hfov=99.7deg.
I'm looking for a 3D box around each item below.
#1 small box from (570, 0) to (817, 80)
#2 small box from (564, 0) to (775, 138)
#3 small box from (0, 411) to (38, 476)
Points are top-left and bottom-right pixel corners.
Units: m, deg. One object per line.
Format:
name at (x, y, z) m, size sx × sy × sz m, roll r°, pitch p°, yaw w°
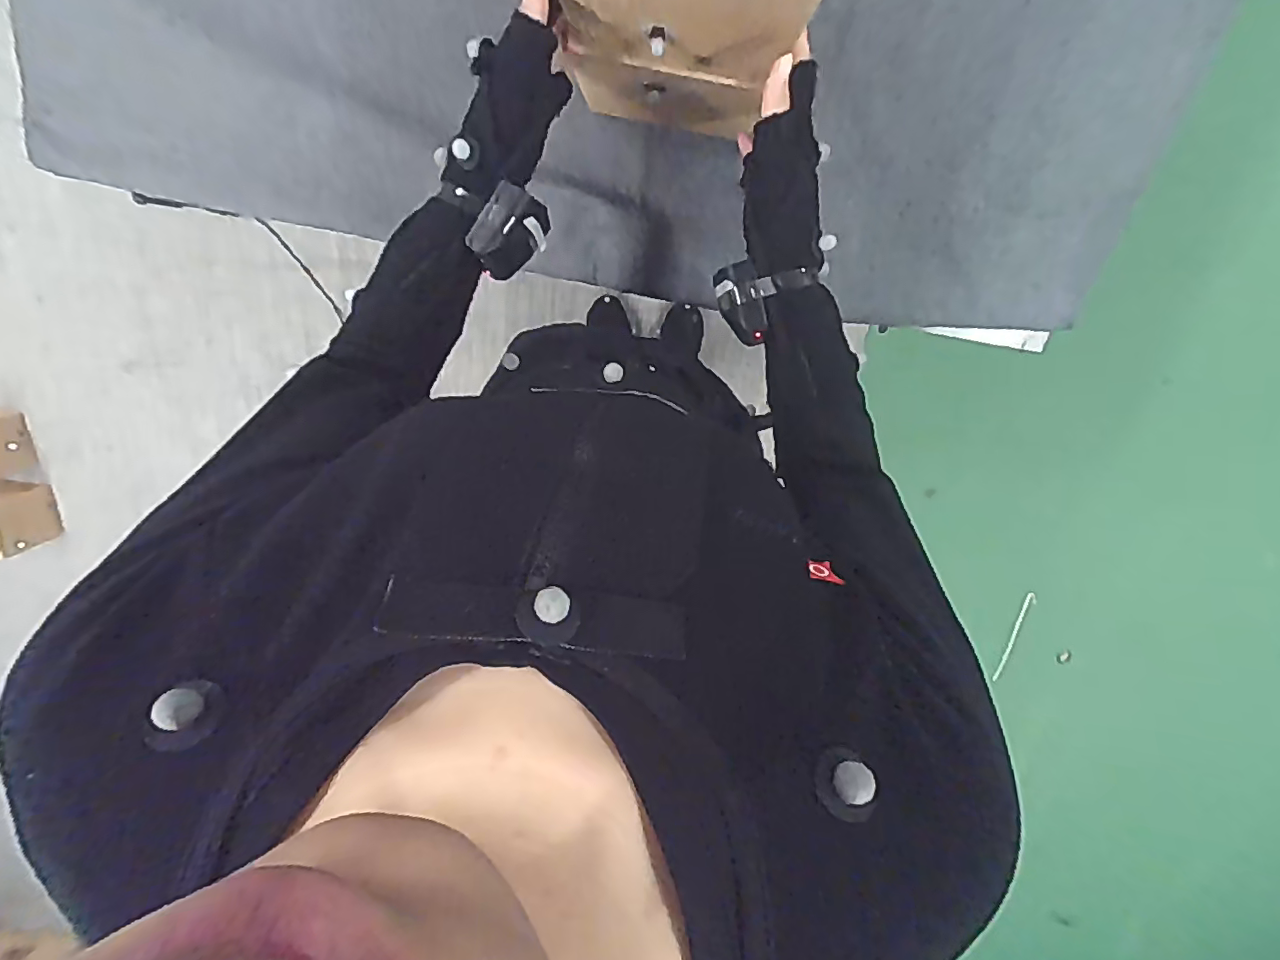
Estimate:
small box at (0.038, -0.390, 0.335) m, size 0.168 × 0.176 × 0.179 m, roll 10°, pitch 111°, yaw -1°
small box at (0.041, -0.436, 0.492) m, size 0.179 × 0.176 × 0.168 m, roll 11°, pitch 110°, yaw -2°
small box at (-1.859, -0.097, 1.497) m, size 0.179 × 0.176 × 0.168 m, roll 6°, pitch 112°, yaw 1°
